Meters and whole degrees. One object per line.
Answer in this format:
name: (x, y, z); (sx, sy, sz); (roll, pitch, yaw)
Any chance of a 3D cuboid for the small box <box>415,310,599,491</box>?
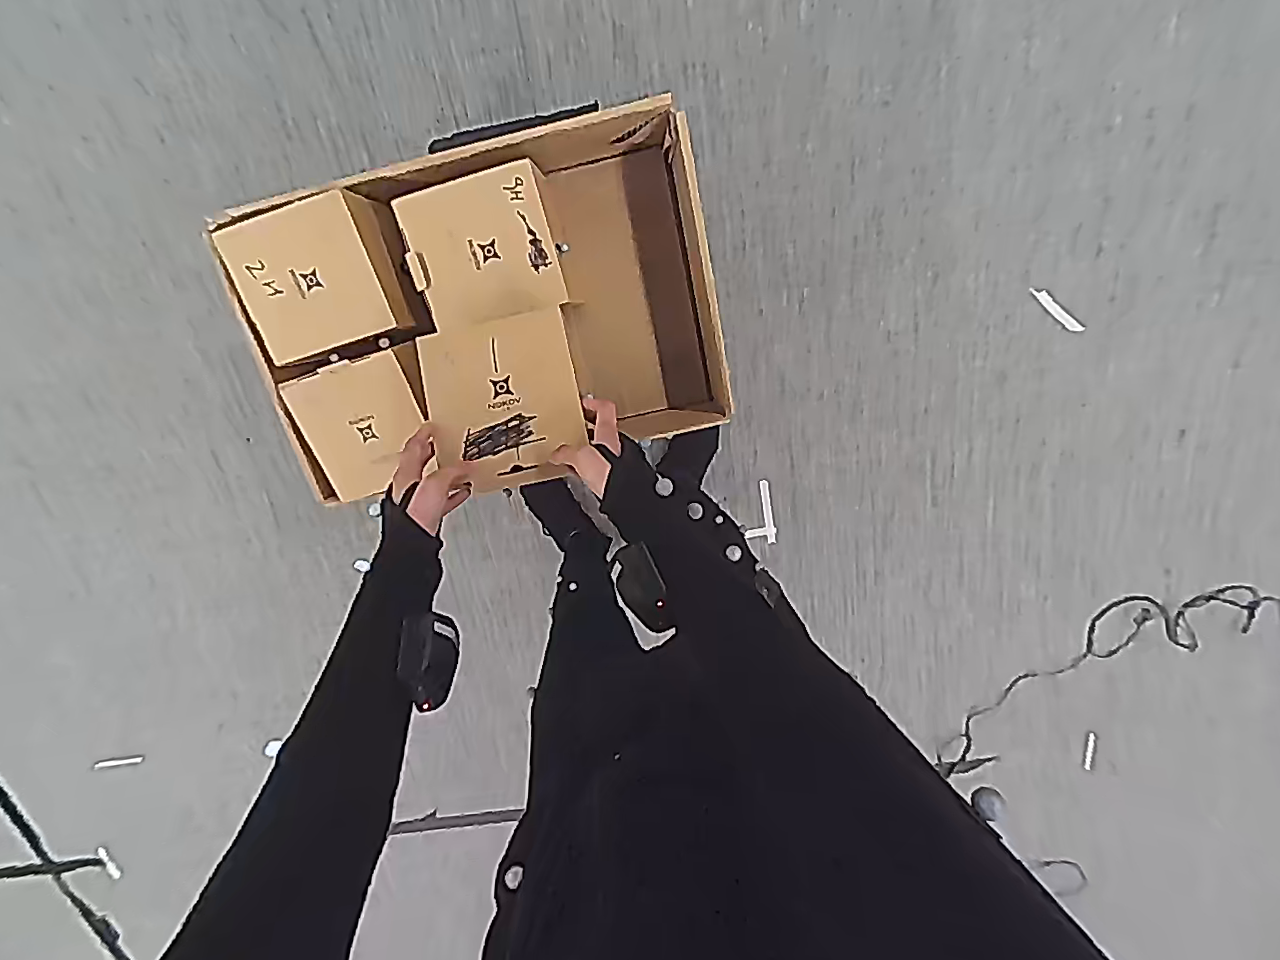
small box: (-0.152, -0.086, 0.674); (0.168, 0.176, 0.179); (-12, 87, 0)
